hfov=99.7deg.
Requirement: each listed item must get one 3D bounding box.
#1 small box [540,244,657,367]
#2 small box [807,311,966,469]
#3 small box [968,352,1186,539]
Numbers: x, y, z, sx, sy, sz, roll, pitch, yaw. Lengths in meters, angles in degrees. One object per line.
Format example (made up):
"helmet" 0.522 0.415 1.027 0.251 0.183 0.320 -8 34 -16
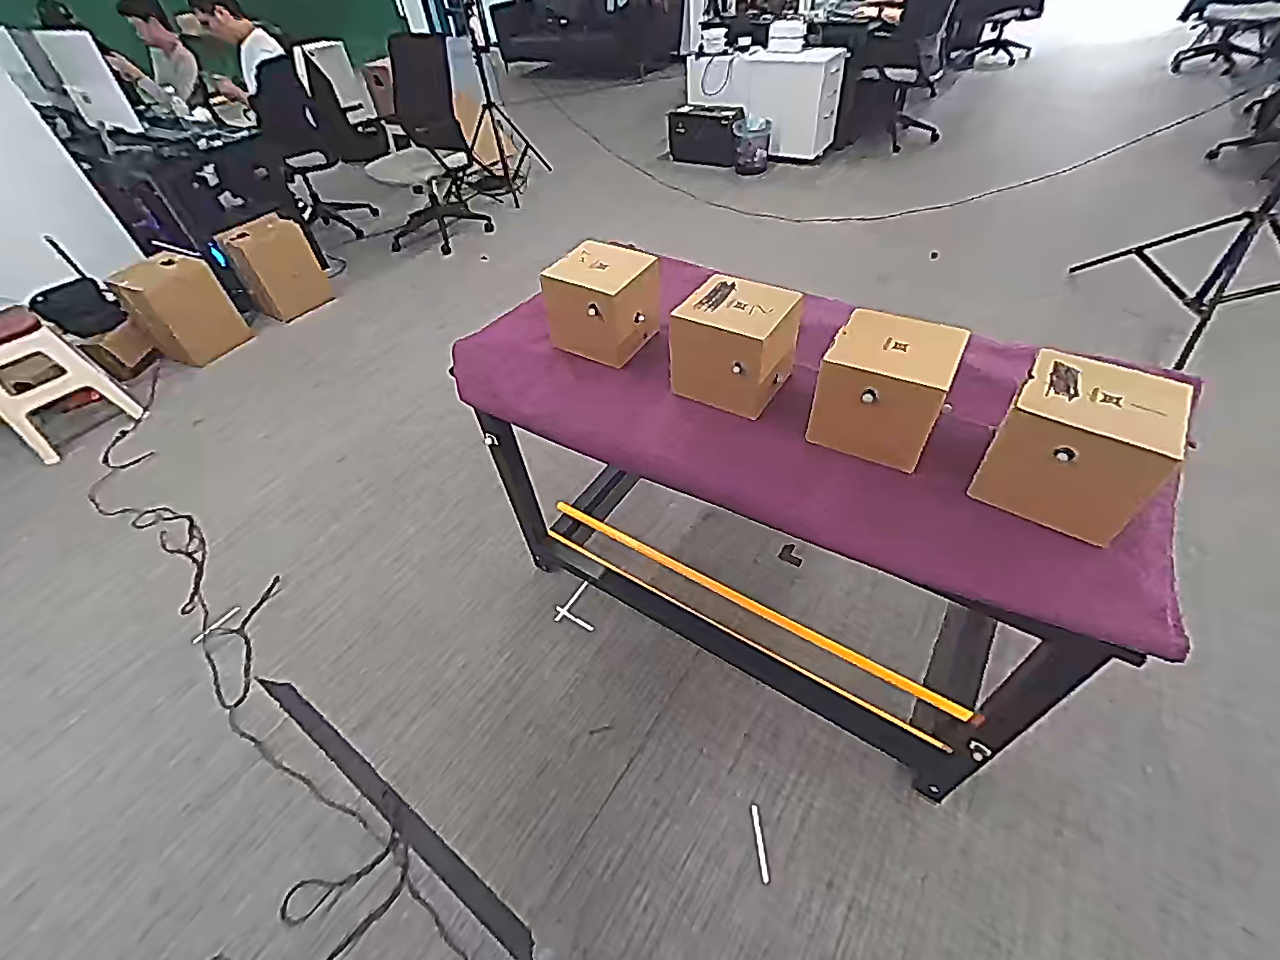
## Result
"small box" -0.076 -0.357 1.119 0.179 0.176 0.168 23 53 22
"small box" 0.390 -0.142 0.873 0.179 0.176 0.168 21 52 25
"small box" 0.594 -0.047 0.754 0.179 0.176 0.168 27 54 27
